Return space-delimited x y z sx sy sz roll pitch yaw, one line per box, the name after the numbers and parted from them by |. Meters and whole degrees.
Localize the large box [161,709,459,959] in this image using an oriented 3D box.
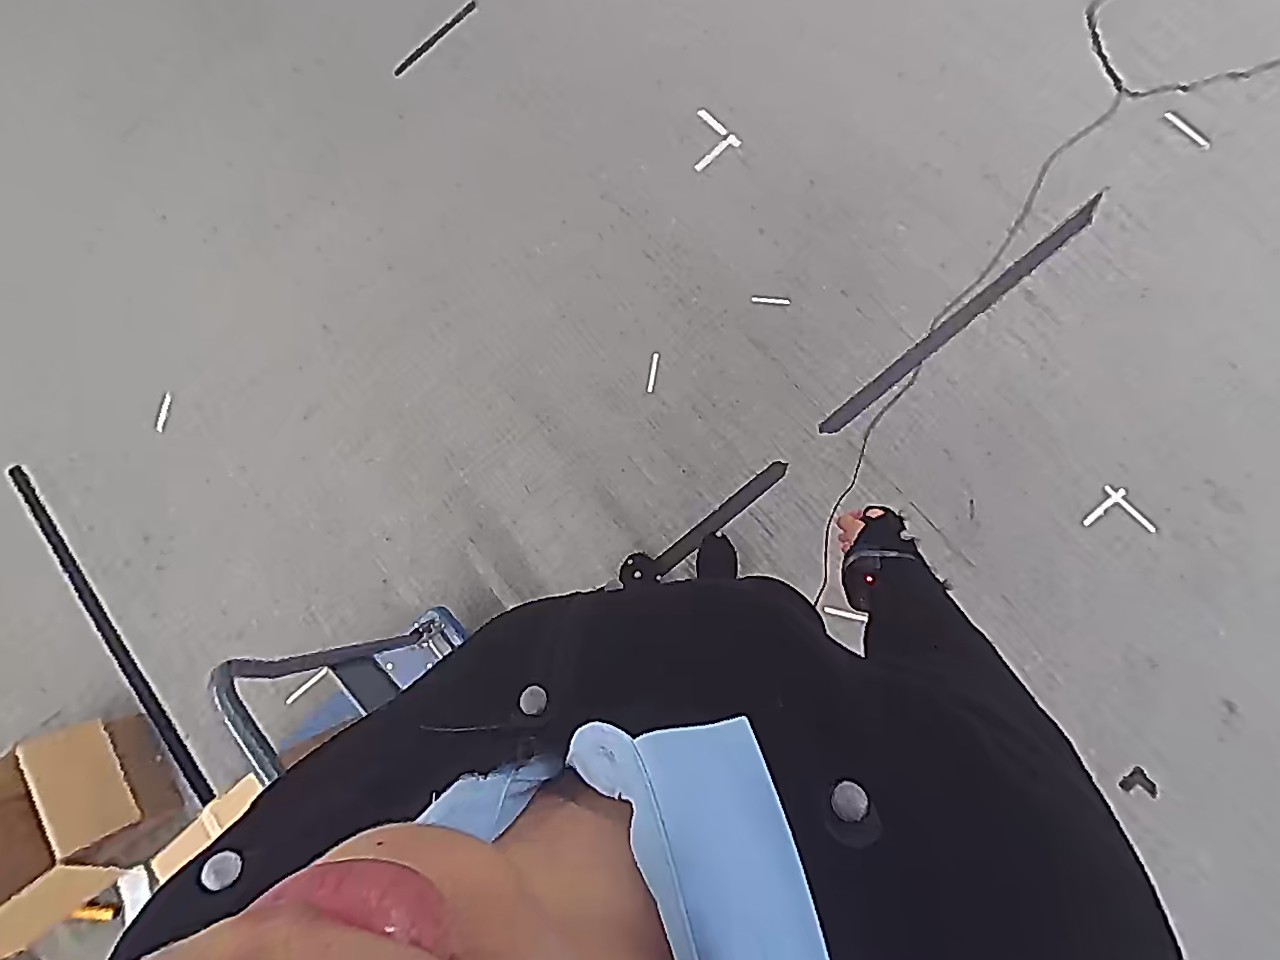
-0.685 0.792 1.176 0.320 0.320 0.408 -42 80 0 | large box
